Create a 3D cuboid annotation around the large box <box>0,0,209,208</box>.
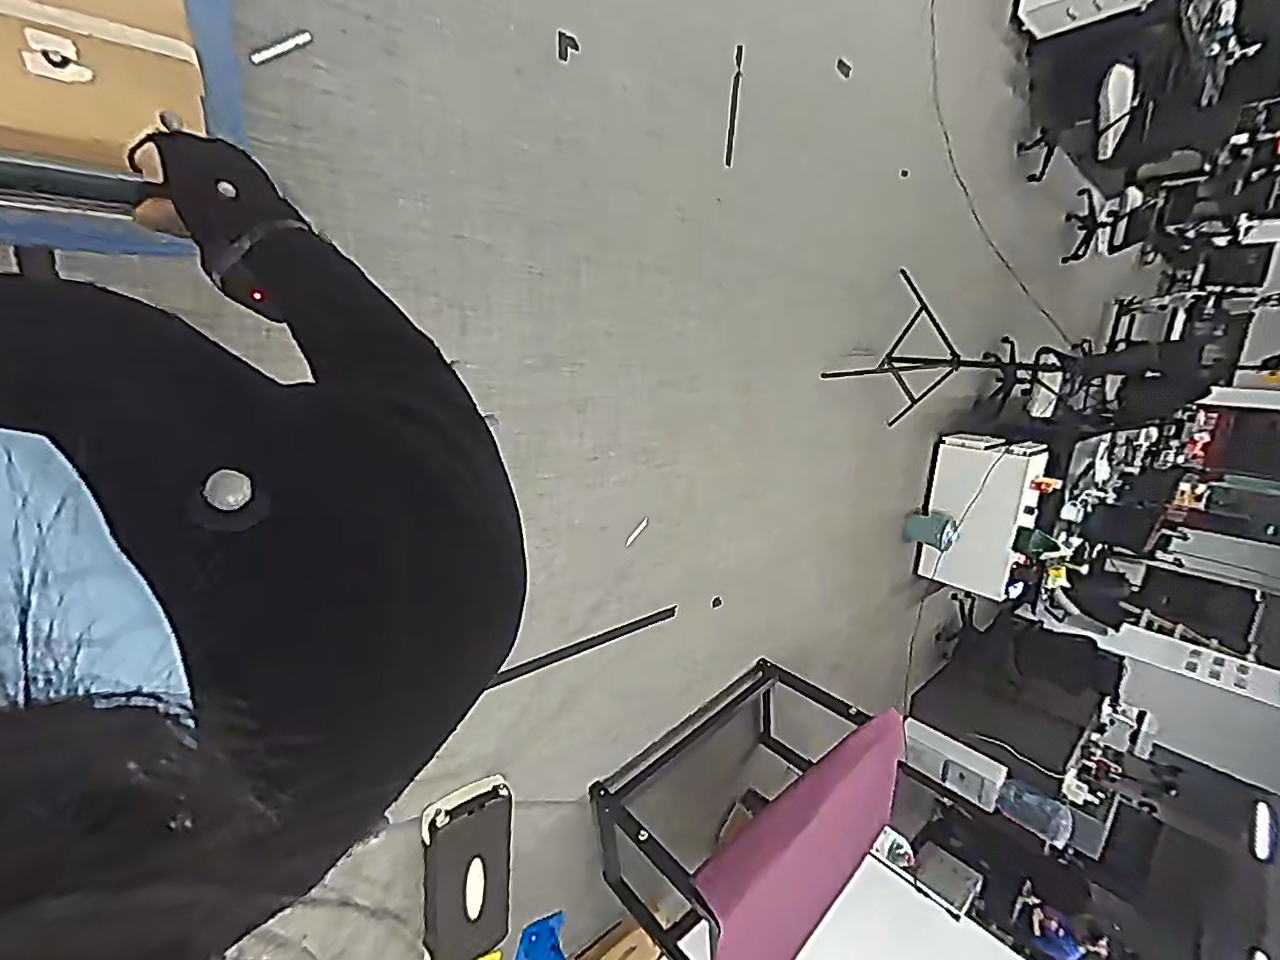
[{"bbox_3d":[-0.867,-0.582,0.718,0.408,0.320,0.320,-12,110,-41],"label":"large box"}]
